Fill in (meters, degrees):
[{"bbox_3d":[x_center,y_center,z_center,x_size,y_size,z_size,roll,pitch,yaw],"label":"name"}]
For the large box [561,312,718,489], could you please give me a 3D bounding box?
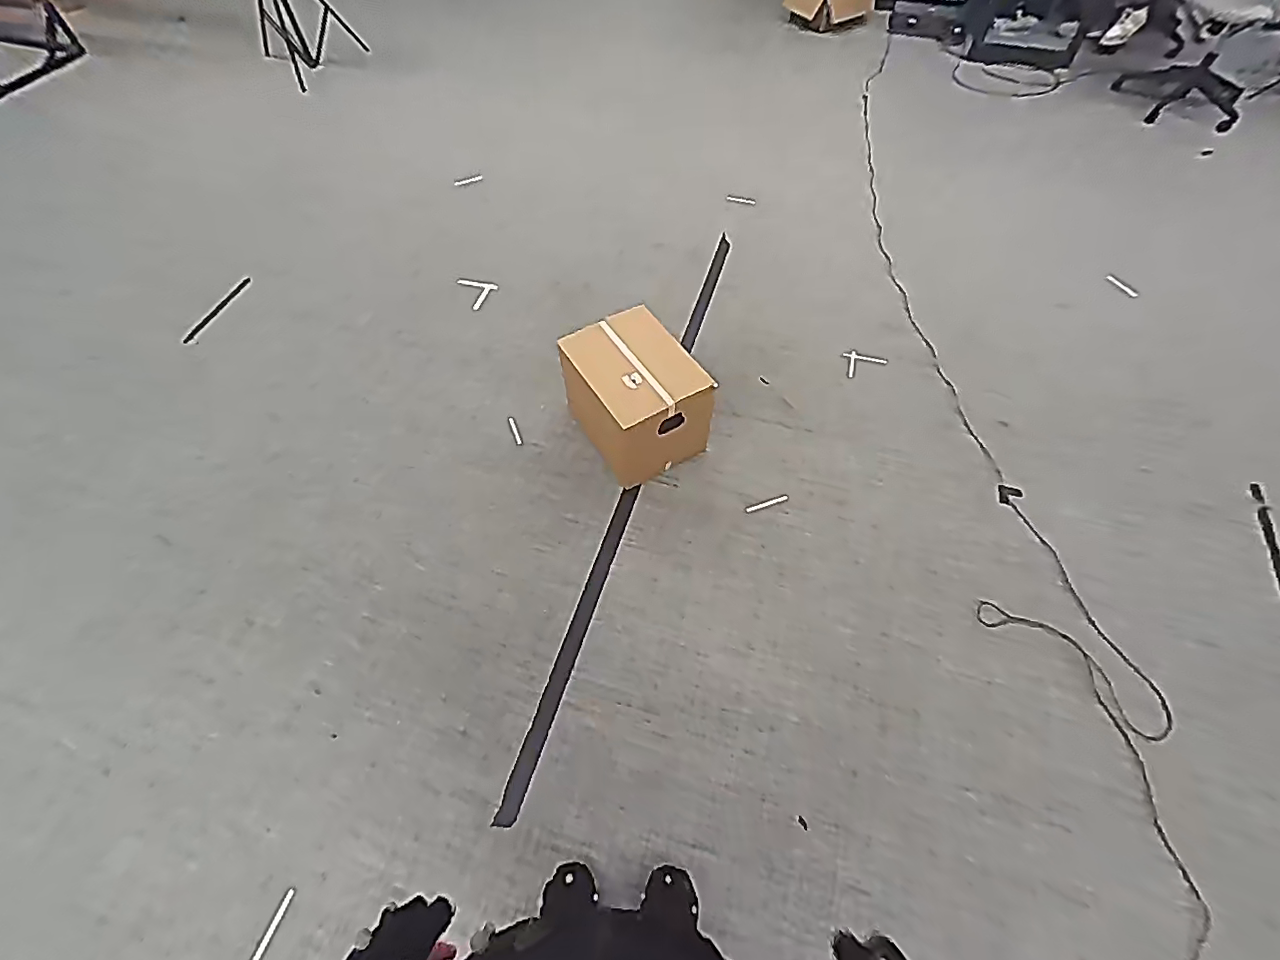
[{"bbox_3d":[-0.012,-0.252,1.719,0.320,0.320,0.408,-28,62,-16],"label":"large box"}]
